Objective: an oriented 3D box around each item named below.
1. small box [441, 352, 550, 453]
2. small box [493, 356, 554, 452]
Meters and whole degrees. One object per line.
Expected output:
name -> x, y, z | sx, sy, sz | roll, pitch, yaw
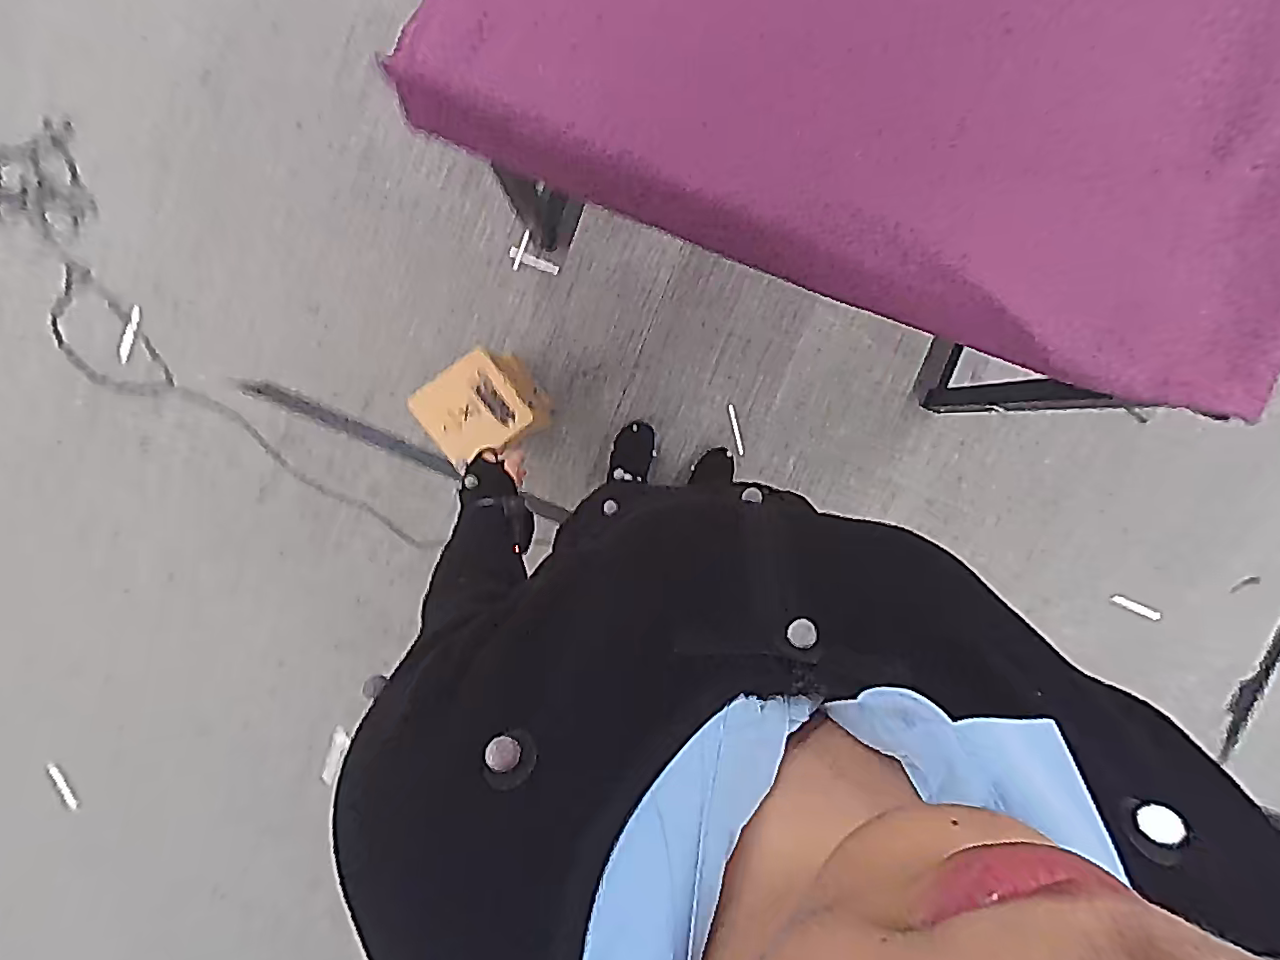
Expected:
small box -> -0.313, -0.173, 1.224 | 0.179, 0.176, 0.168 | -23, 96, 1
small box -> -0.341, -0.191, 1.387 | 0.179, 0.176, 0.168 | -45, 96, 3
